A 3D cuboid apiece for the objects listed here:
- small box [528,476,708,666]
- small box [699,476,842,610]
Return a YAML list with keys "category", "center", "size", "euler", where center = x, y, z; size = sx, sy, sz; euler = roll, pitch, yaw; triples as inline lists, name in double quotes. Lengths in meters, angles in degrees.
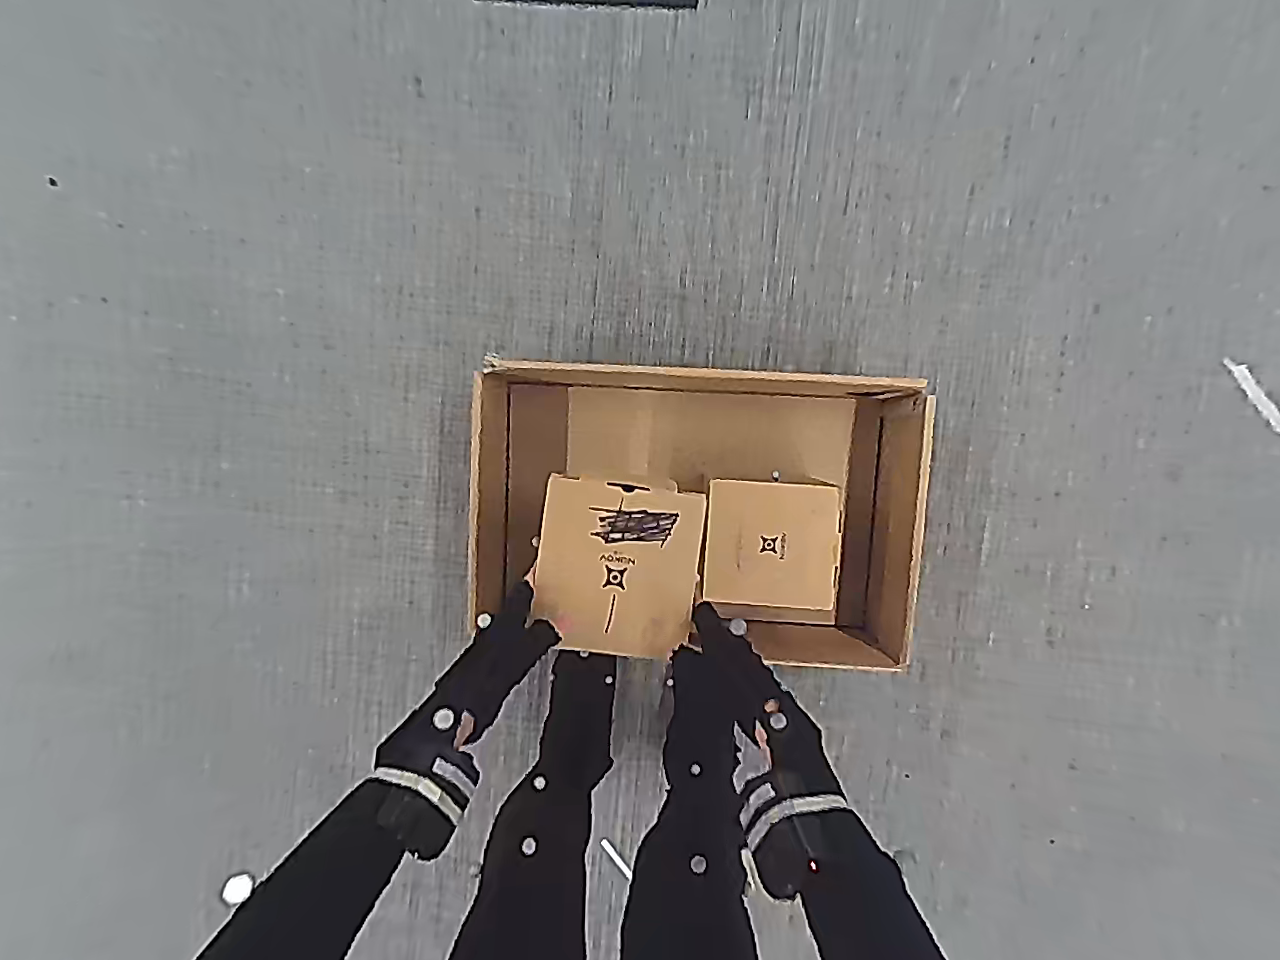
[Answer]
- category: "small box"
  center: [-0.025, 0.096, 0.625]
  size: [0.168, 0.176, 0.179]
  euler: [7, 88, -2]
- category: "small box"
  center: [0.178, 0.083, 0.795]
  size: [0.179, 0.176, 0.168]
  euler: [3, 93, 4]
